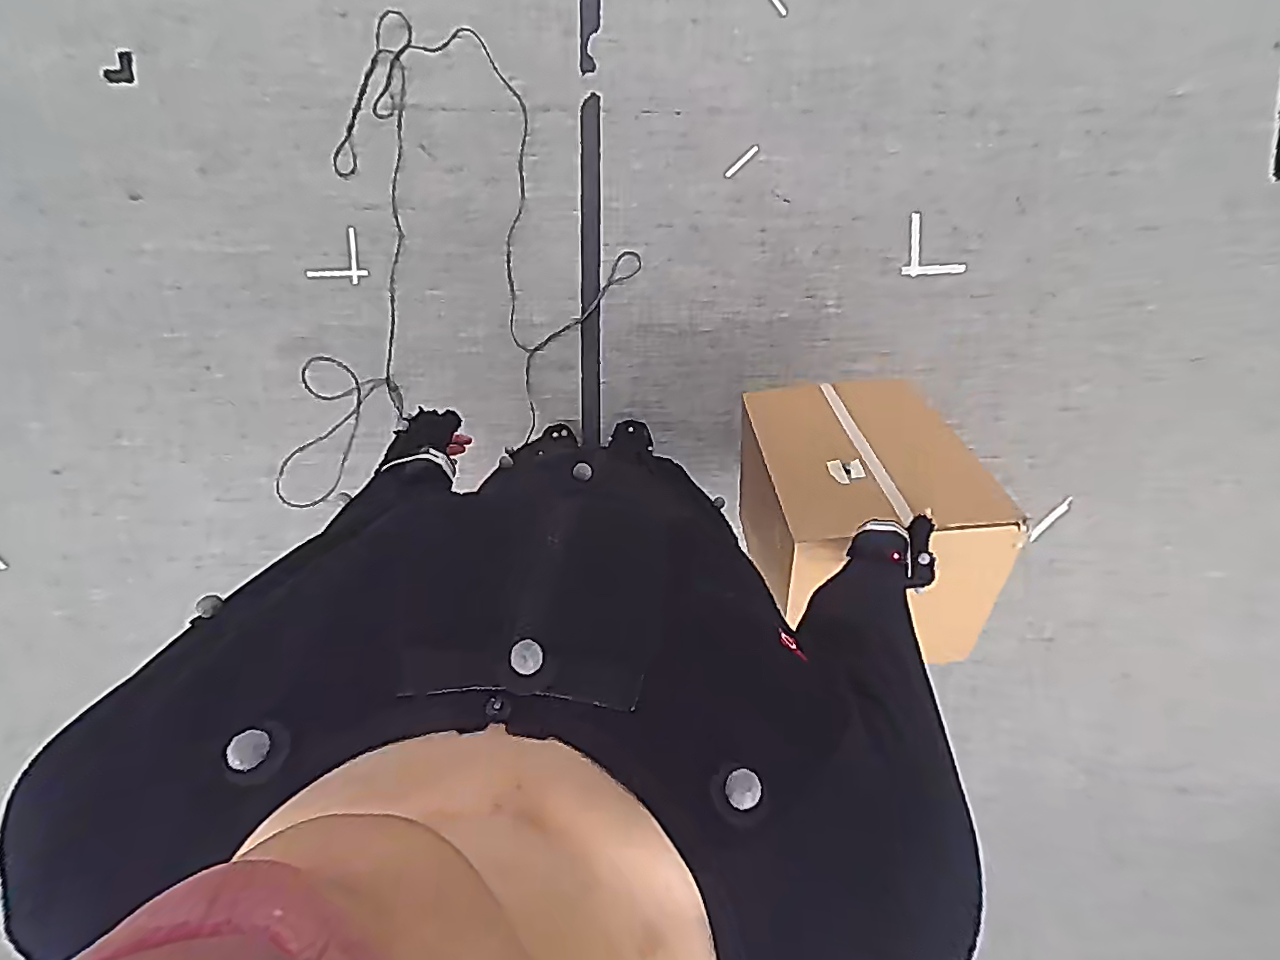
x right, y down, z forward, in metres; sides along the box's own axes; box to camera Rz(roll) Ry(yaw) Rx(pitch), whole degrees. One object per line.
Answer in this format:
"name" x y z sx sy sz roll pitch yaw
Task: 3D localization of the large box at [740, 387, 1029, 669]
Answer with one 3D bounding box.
"large box" 0.376 0.073 0.976 0.320 0.408 0.320 -5 129 2
